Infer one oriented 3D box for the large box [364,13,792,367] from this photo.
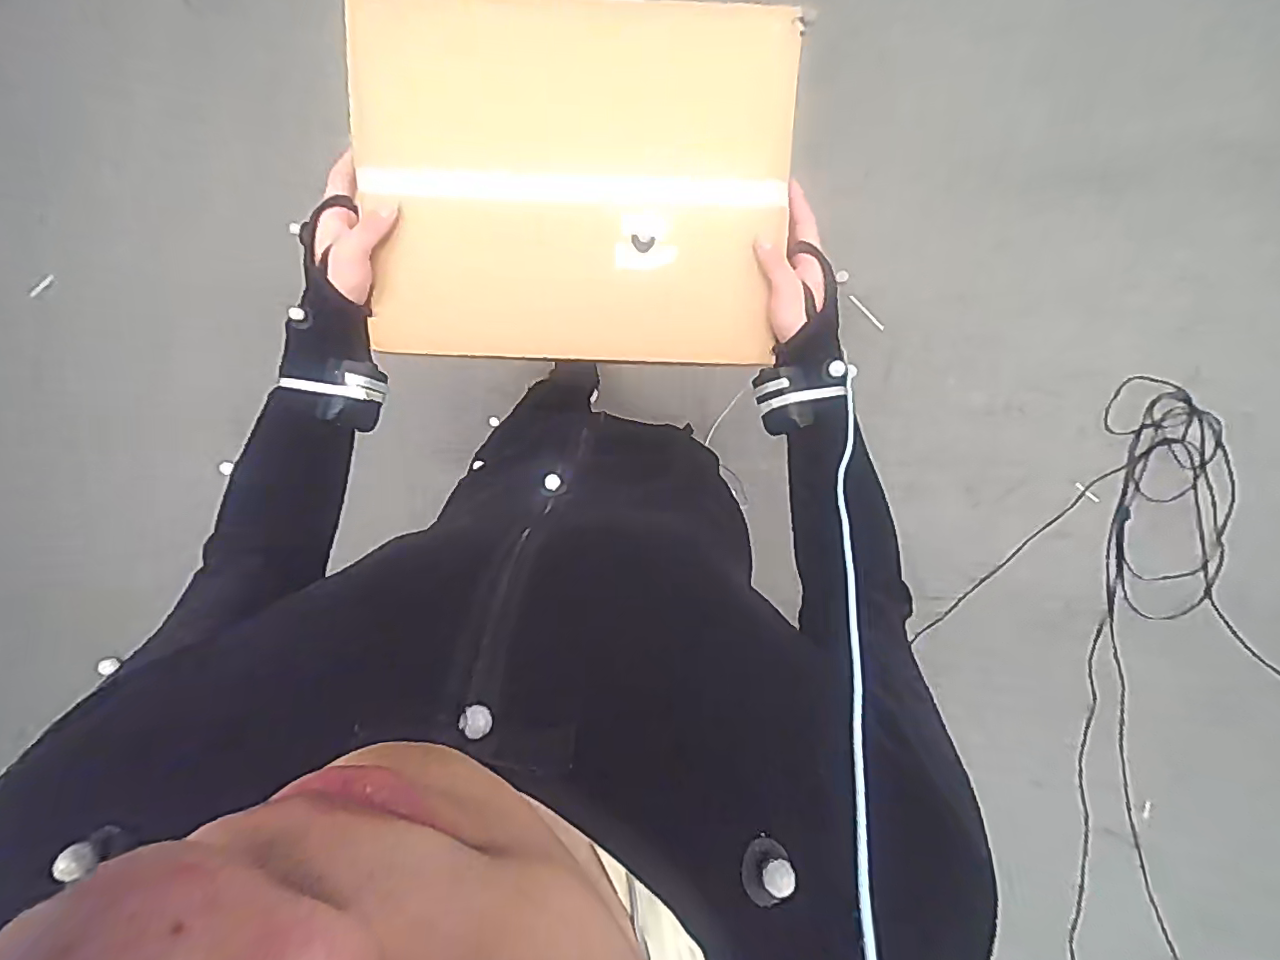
[{"bbox_3d":[-0.063,-0.302,0.673,0.408,0.320,0.320,1,102,-2],"label":"large box"}]
